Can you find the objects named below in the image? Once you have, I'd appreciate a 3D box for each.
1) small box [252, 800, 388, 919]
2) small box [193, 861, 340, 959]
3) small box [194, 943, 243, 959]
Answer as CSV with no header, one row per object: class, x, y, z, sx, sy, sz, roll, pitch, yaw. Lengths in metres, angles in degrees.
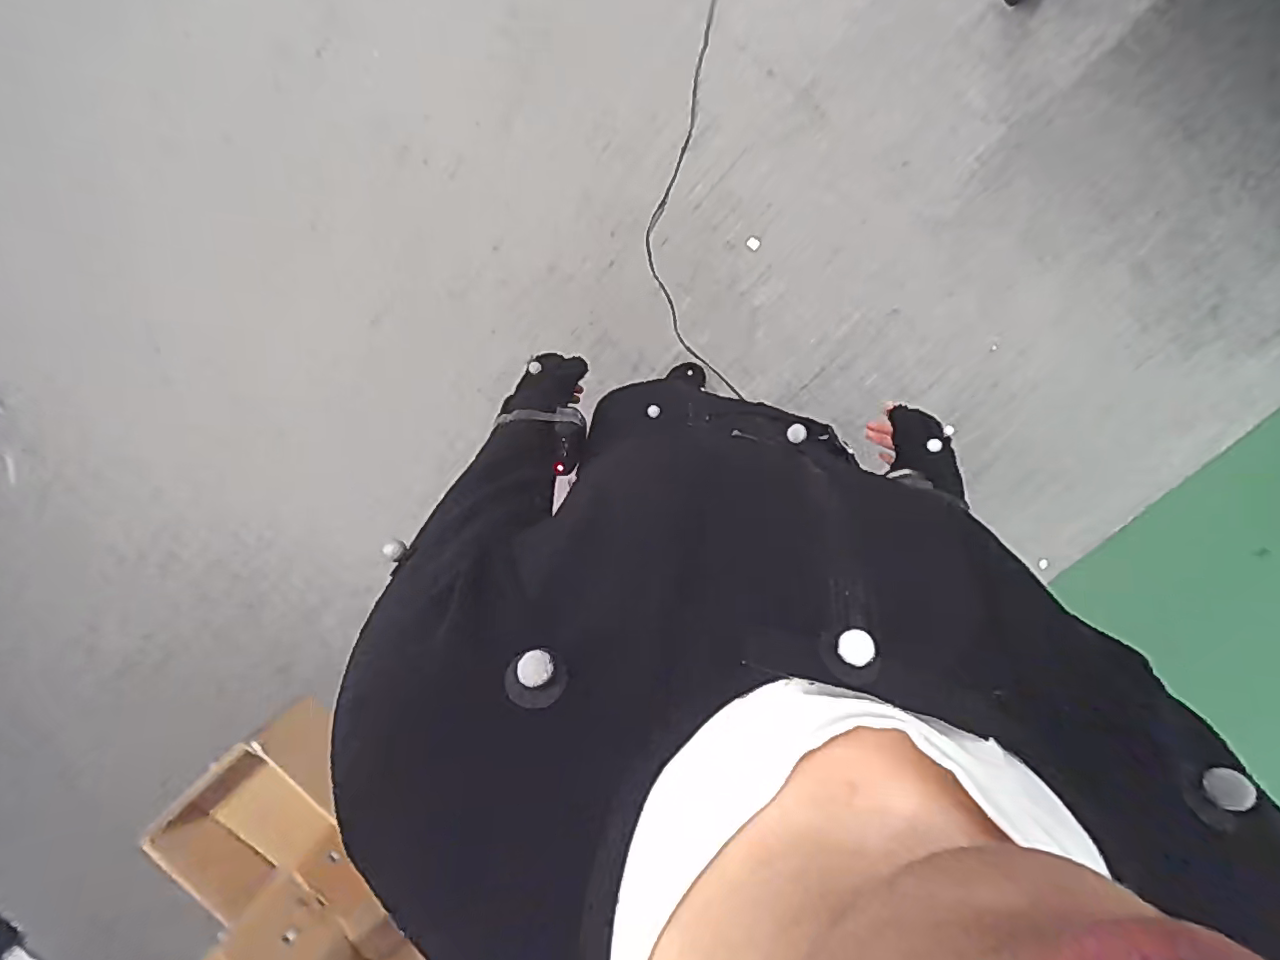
small box,-0.704,0.870,1.216,0.179,0.176,0.168,-42,93,14
small box,-0.730,0.904,1.057,0.179,0.176,0.168,-44,92,11
small box,-0.750,0.937,0.897,0.168,0.176,0.179,-42,92,12
